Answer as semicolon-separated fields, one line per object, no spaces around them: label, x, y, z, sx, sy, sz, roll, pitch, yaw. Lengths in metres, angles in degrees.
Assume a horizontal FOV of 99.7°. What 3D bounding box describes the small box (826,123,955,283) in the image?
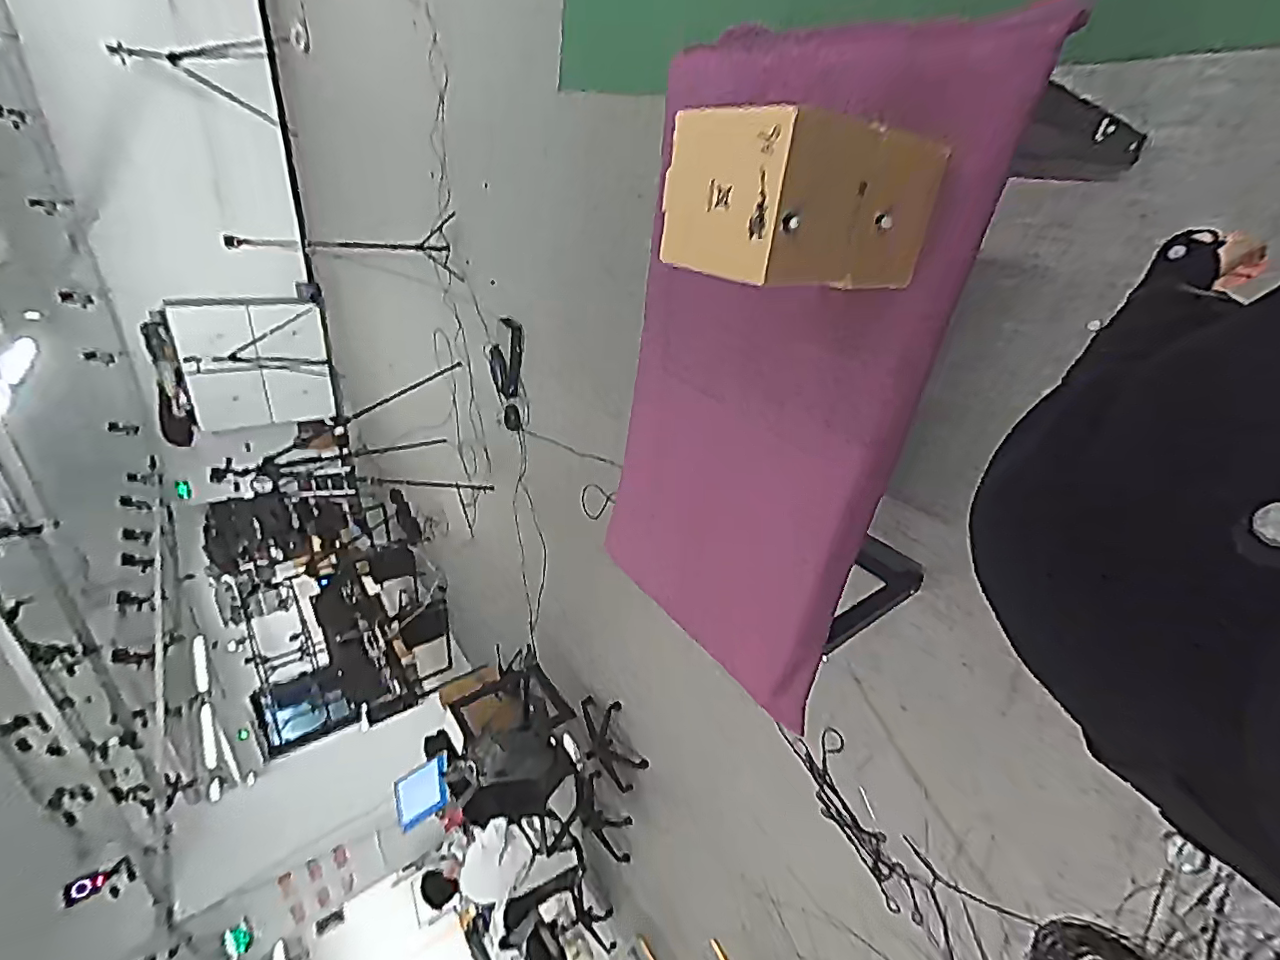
small box;0.303;-0.381;0.752;0.168;0.176;0.179;34;131;43

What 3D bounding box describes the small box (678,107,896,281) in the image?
small box;0.171;-0.346;0.661;0.179;0.176;0.168;36;132;43
